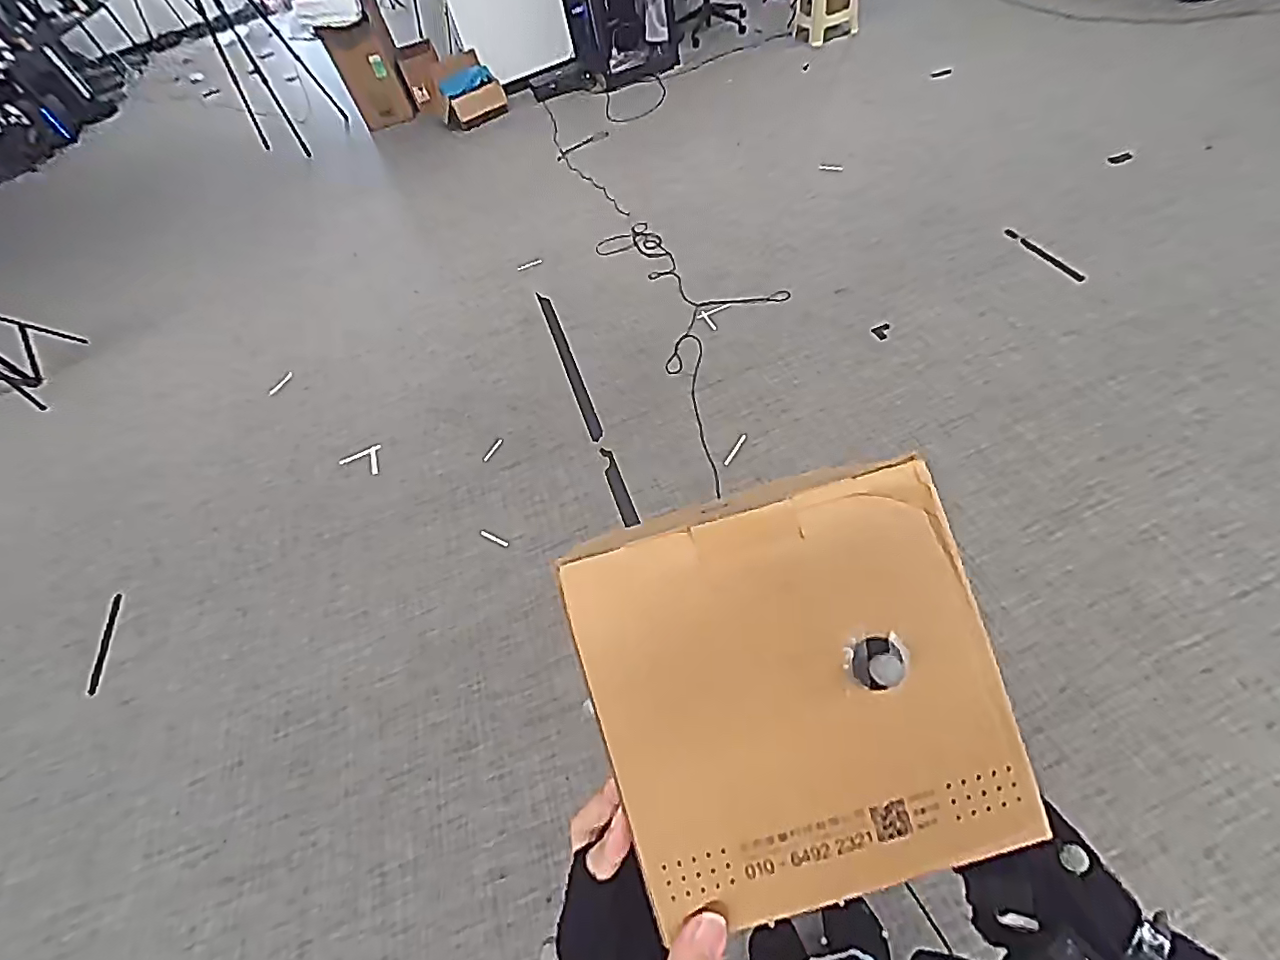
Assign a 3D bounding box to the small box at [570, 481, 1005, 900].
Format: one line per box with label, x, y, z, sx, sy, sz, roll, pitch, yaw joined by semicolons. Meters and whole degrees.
small box;0.072;0.107;0.325;0.168;0.179;0.176;-17;87;2
